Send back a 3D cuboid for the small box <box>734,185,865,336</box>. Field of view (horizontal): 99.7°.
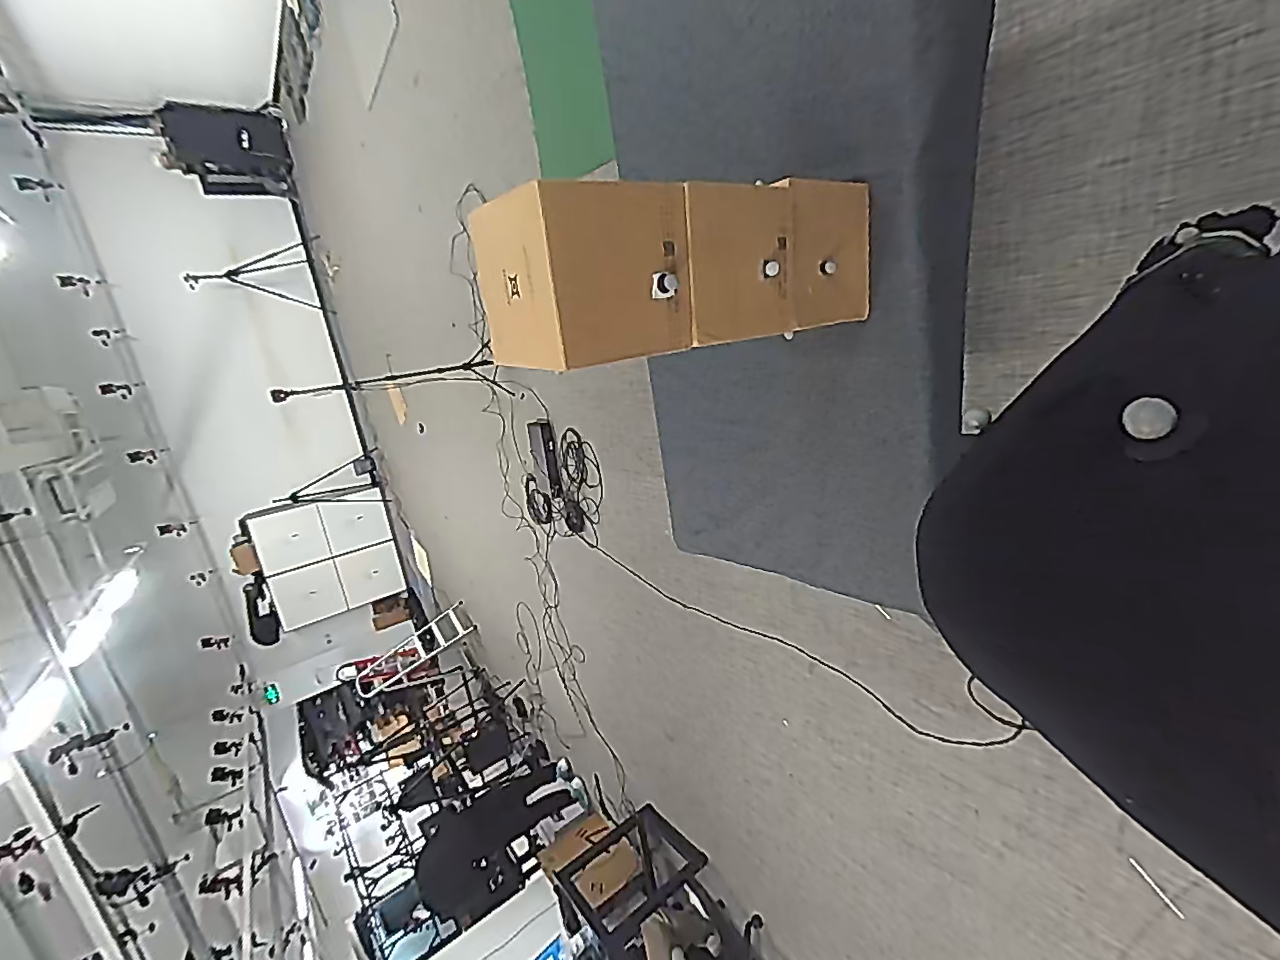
[{"bbox_3d":[0.202,-0.309,0.773,0.168,0.176,0.179,15,119,53],"label":"small box"}]

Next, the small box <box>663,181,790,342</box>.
[{"bbox_3d":[0.067,-0.266,0.689,0.179,0.176,0.168,16,119,54],"label":"small box"}]

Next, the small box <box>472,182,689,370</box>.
[{"bbox_3d":[-0.064,-0.222,0.605,0.179,0.176,0.168,18,122,51],"label":"small box"}]
